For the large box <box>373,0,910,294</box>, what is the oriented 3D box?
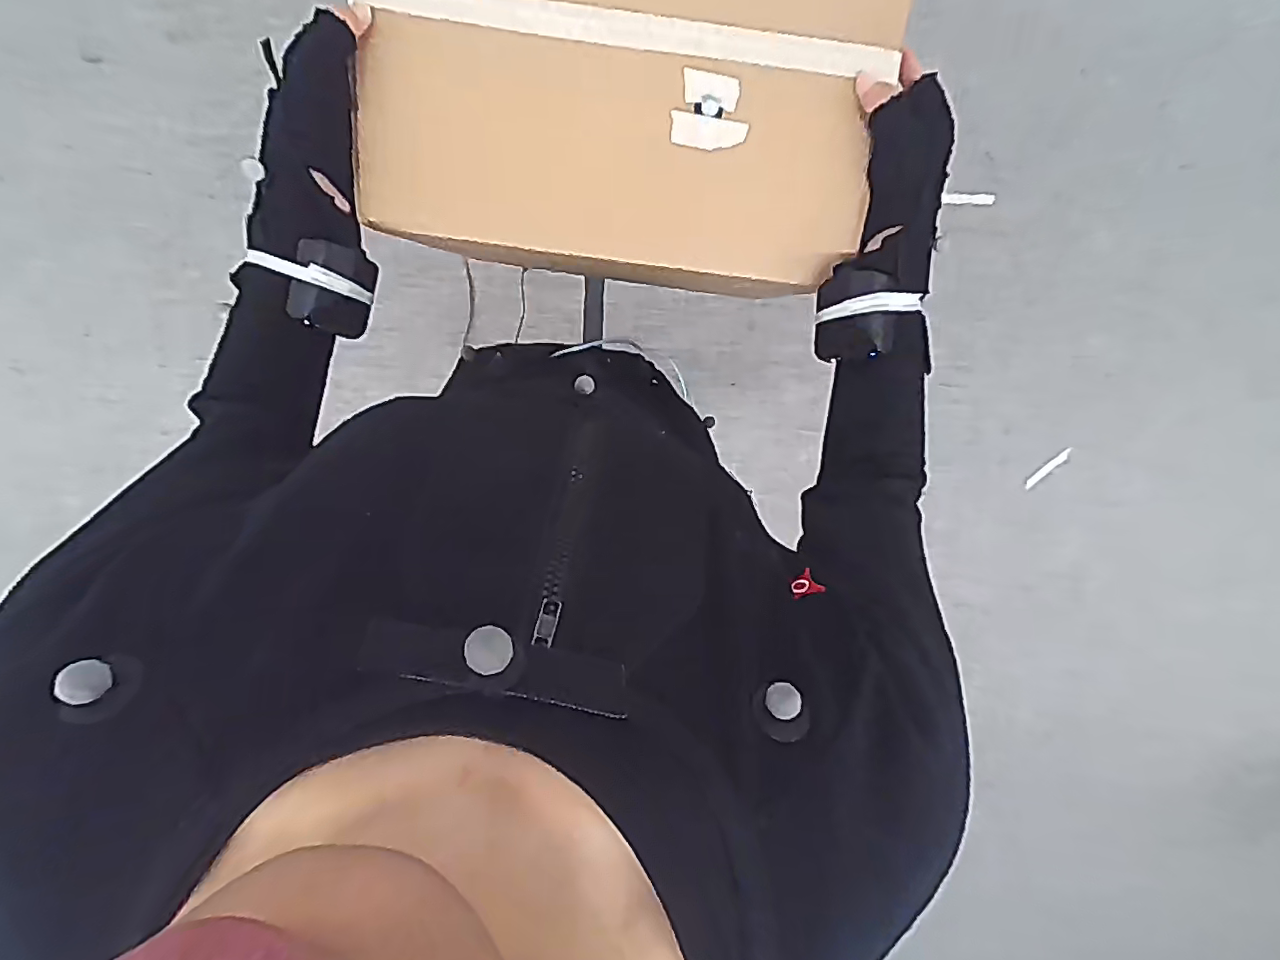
[{"bbox_3d":[-0.005,-0.378,0.552,0.408,0.320,0.320,7,108,-3],"label":"large box"}]
